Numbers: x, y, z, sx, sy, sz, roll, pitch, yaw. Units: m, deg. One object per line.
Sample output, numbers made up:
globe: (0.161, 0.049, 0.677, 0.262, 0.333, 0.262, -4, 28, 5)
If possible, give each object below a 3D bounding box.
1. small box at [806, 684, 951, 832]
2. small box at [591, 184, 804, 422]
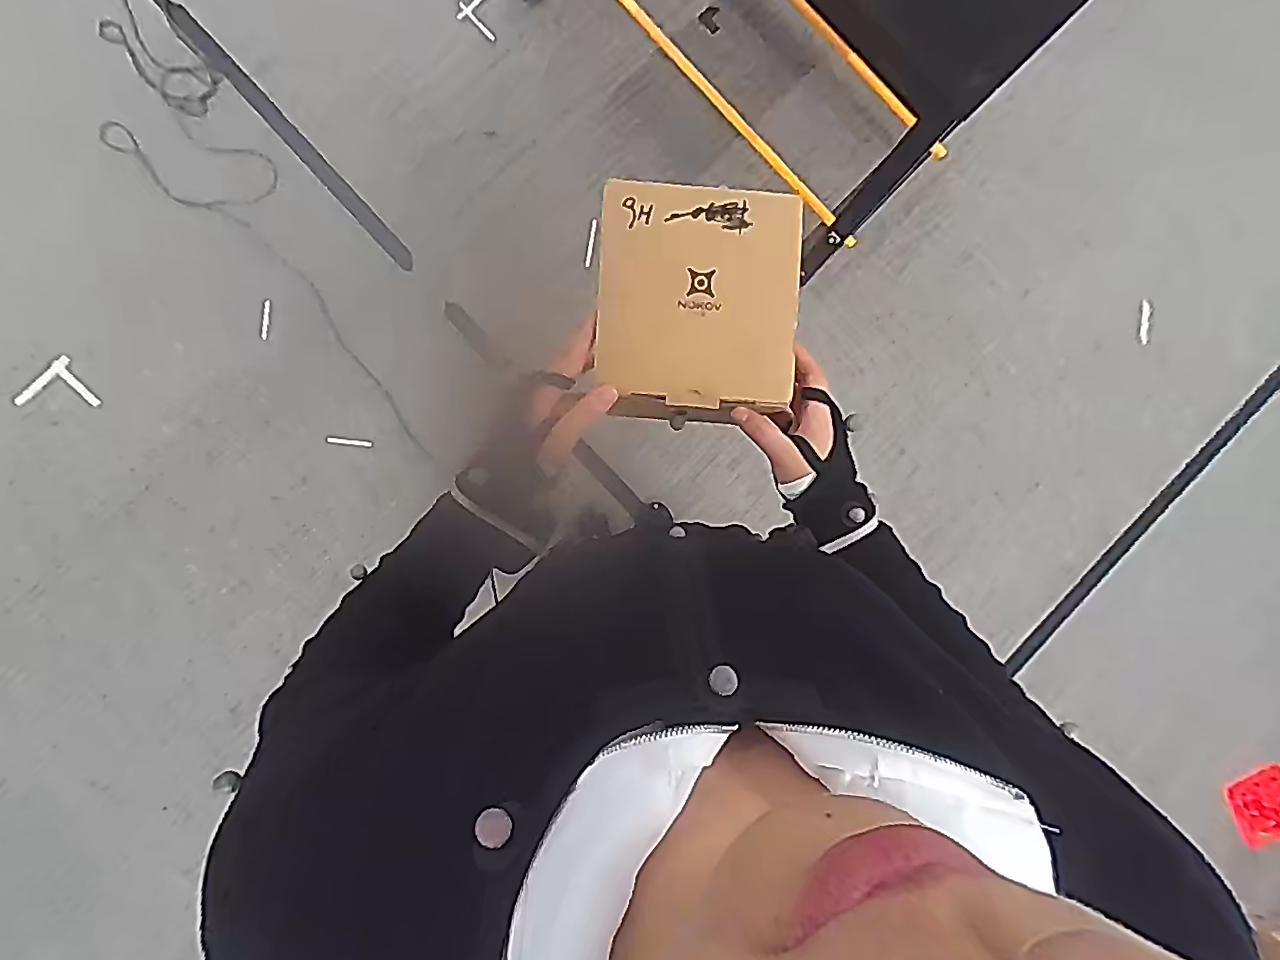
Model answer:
small box: (0.480, 0.557, 1.112, 0.168, 0.176, 0.179, -41, 91, -5)
small box: (0.044, -0.150, 0.517, 0.168, 0.176, 0.179, 3, 92, -3)
